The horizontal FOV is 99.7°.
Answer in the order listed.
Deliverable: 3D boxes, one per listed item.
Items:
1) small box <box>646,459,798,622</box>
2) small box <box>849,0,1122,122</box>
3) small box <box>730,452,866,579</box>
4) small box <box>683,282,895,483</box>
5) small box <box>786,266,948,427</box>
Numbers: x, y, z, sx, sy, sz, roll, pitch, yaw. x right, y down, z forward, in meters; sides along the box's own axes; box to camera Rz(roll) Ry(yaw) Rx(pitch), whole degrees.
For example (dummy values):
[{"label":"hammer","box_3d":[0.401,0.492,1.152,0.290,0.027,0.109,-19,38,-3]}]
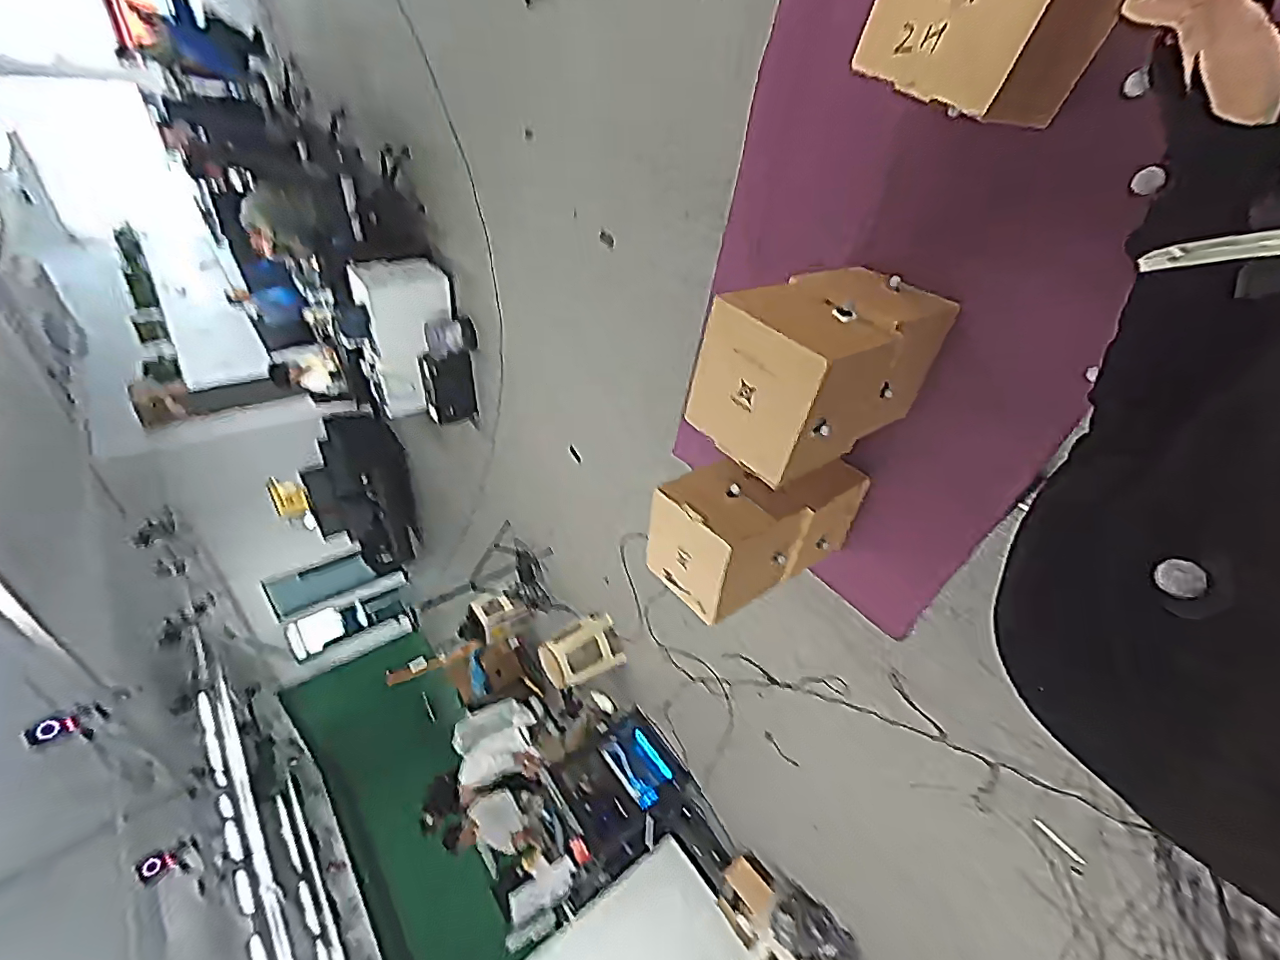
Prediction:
[{"label":"small box","box_3d":[0.132,0.088,0.880,0.168,0.176,0.179,39,137,37]},{"label":"small box","box_3d":[0.352,-0.479,0.530,0.168,0.176,0.179,49,143,28]},{"label":"small box","box_3d":[0.265,0.036,0.961,0.179,0.176,0.168,41,139,36]},{"label":"small box","box_3d":[0.184,-0.130,0.681,0.168,0.176,0.179,42,138,32]},{"label":"small box","box_3d":[0.301,-0.189,0.775,0.168,0.176,0.179,41,138,34]}]
